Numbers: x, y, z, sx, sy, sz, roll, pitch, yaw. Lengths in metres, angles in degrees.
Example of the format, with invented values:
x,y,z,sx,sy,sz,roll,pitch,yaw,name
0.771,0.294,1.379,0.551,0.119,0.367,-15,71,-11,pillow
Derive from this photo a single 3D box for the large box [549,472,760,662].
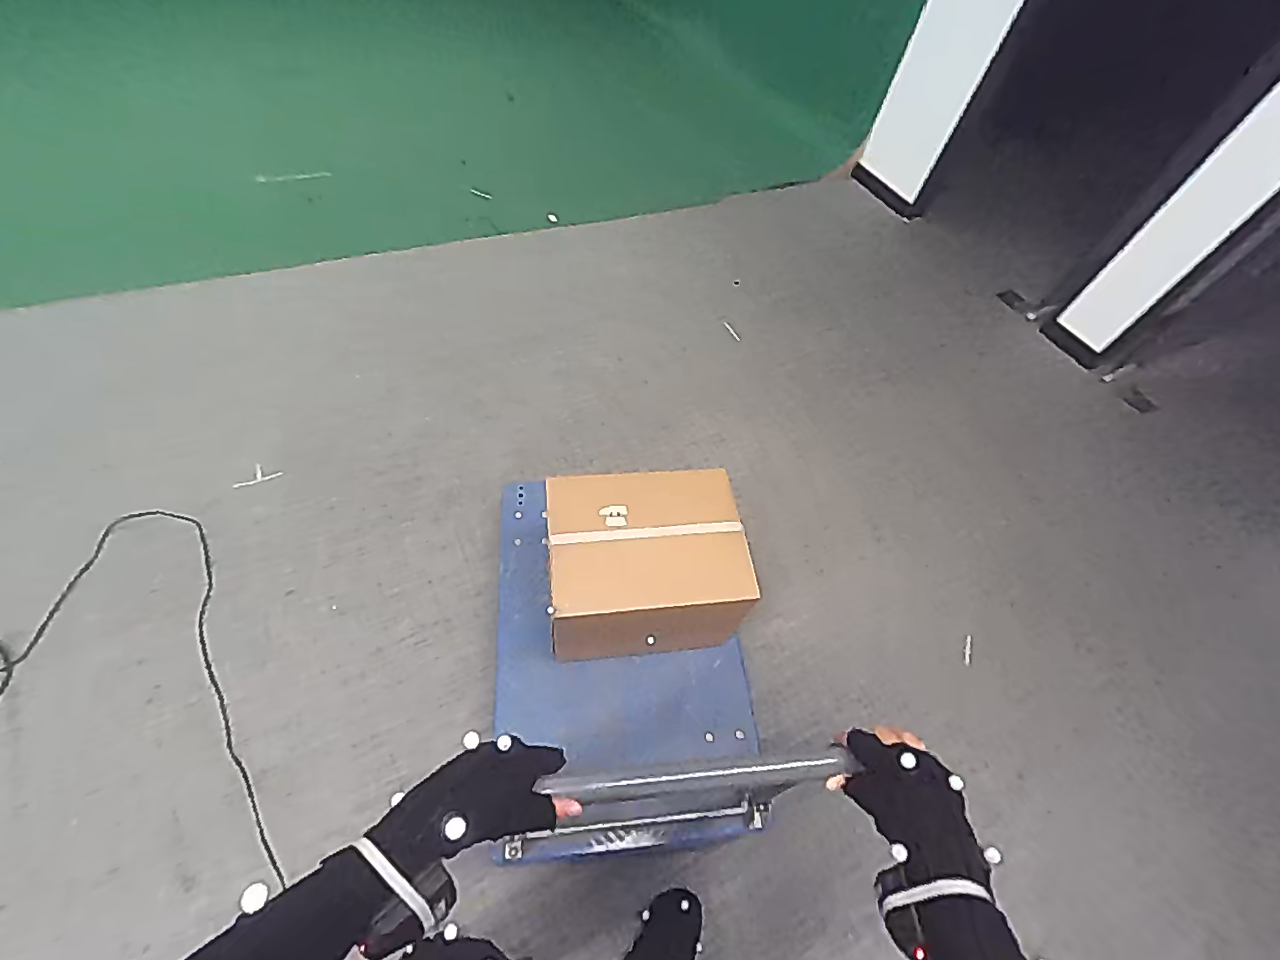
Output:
x,y,z,sx,sy,sz,roll,pitch,yaw,name
0.007,0.203,1.237,0.408,0.320,0.320,-3,56,-10,large box
